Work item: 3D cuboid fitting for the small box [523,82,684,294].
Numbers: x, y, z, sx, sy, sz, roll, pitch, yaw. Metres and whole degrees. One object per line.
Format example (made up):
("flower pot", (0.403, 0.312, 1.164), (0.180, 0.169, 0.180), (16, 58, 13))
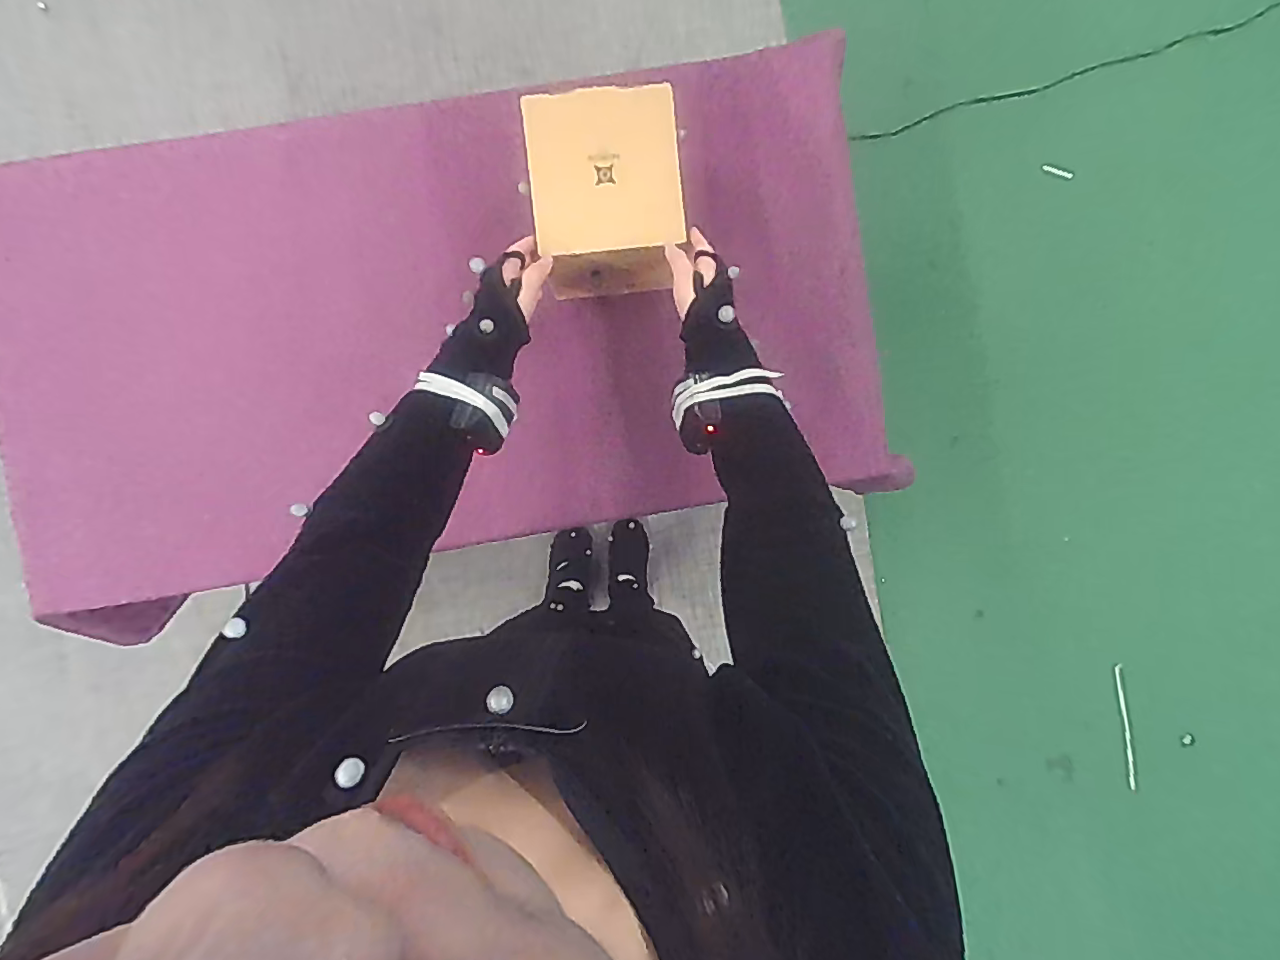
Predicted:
("small box", (-0.039, -0.340, 0.667), (0.168, 0.176, 0.179), (-6, 92, -1))
